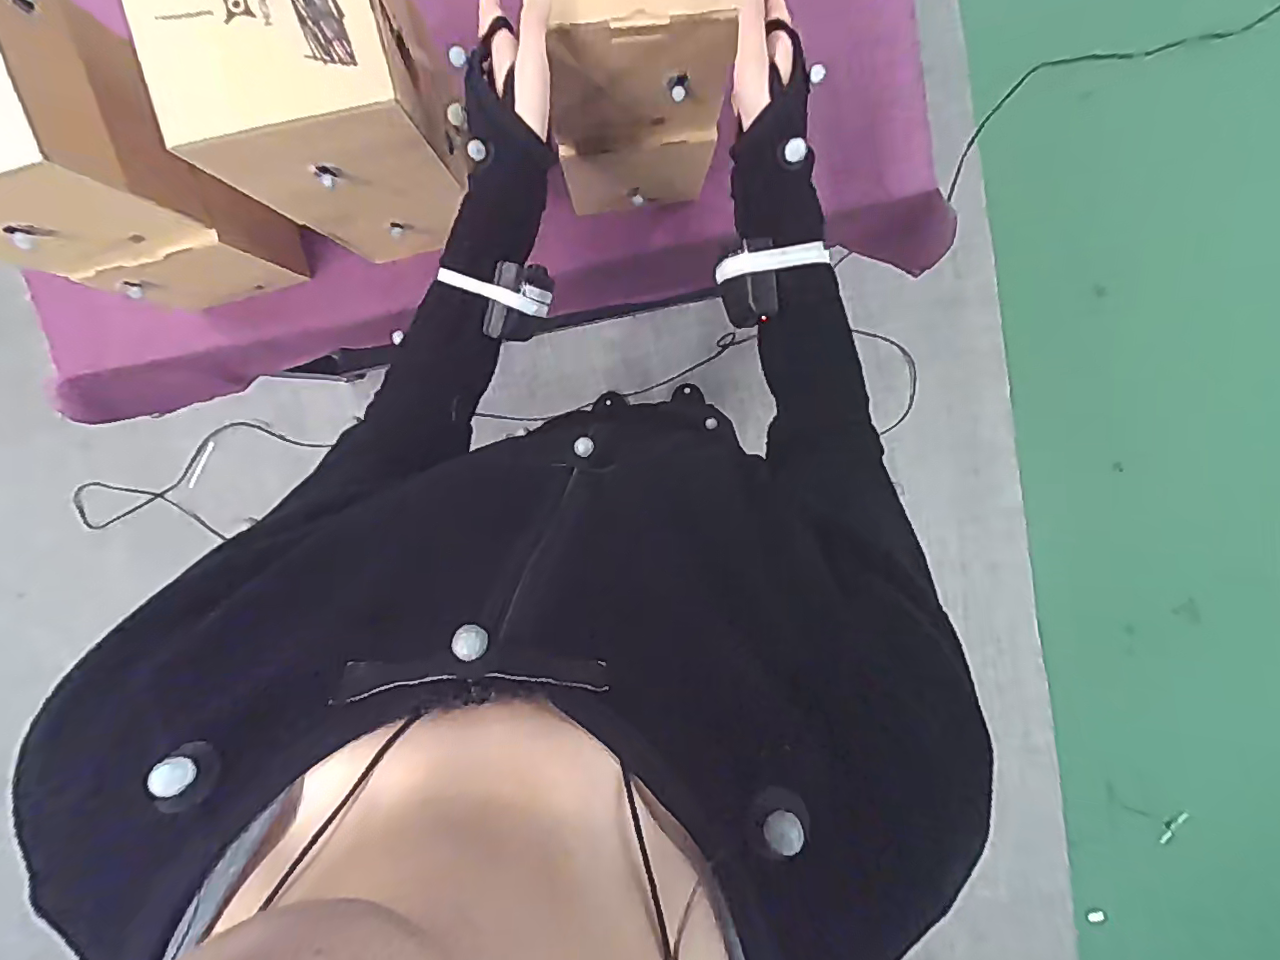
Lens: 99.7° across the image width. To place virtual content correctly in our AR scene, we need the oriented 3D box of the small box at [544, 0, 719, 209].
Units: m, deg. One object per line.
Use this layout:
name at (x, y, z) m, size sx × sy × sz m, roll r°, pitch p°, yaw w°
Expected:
small box at (-0.010, -0.438, 0.618) m, size 0.168 × 0.176 × 0.179 m, roll -7°, pitch 98°, yaw 1°

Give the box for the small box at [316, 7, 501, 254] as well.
small box at (-0.281, -0.380, 0.624) m, size 0.179 × 0.176 × 0.168 m, roll -13°, pitch 98°, yaw 1°

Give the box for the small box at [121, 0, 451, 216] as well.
small box at (-0.278, -0.350, 0.460) m, size 0.179 × 0.176 × 0.168 m, roll -10°, pitch 97°, yaw 2°

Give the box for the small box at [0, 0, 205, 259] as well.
small box at (-0.534, -0.309, 0.466) m, size 0.168 × 0.176 × 0.179 m, roll -16°, pitch 97°, yaw 1°
